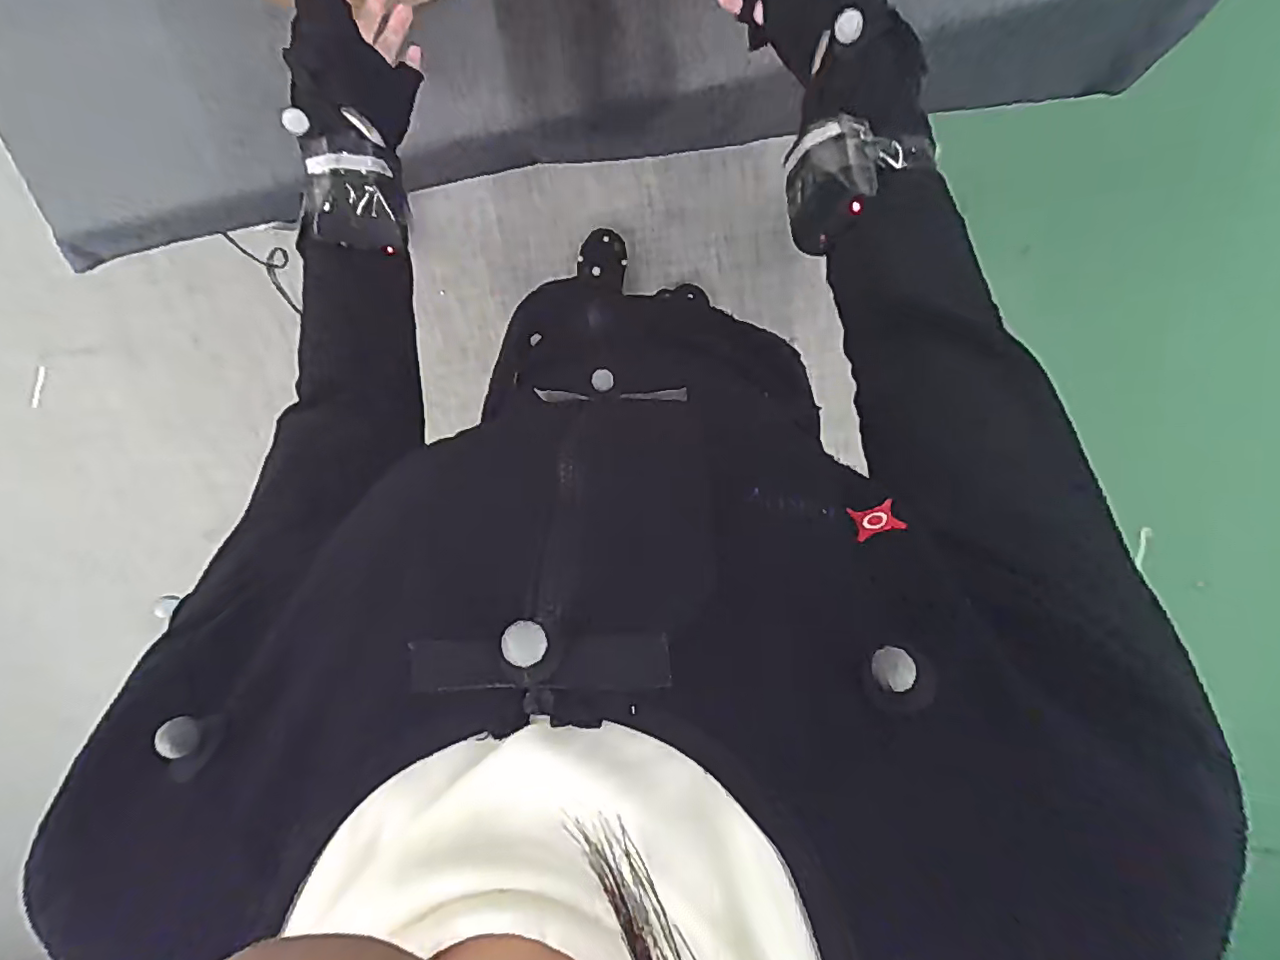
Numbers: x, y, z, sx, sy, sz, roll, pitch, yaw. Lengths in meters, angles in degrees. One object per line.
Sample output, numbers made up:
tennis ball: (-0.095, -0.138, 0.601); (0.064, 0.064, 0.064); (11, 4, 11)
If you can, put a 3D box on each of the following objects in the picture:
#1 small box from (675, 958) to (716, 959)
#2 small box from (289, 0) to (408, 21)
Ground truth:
small box: (0.187, 1.764, 1.828); (0.179, 0.176, 0.168); (-9, 107, 8)
small box: (-0.252, -0.503, 0.421); (0.168, 0.176, 0.179); (-13, 110, 8)
